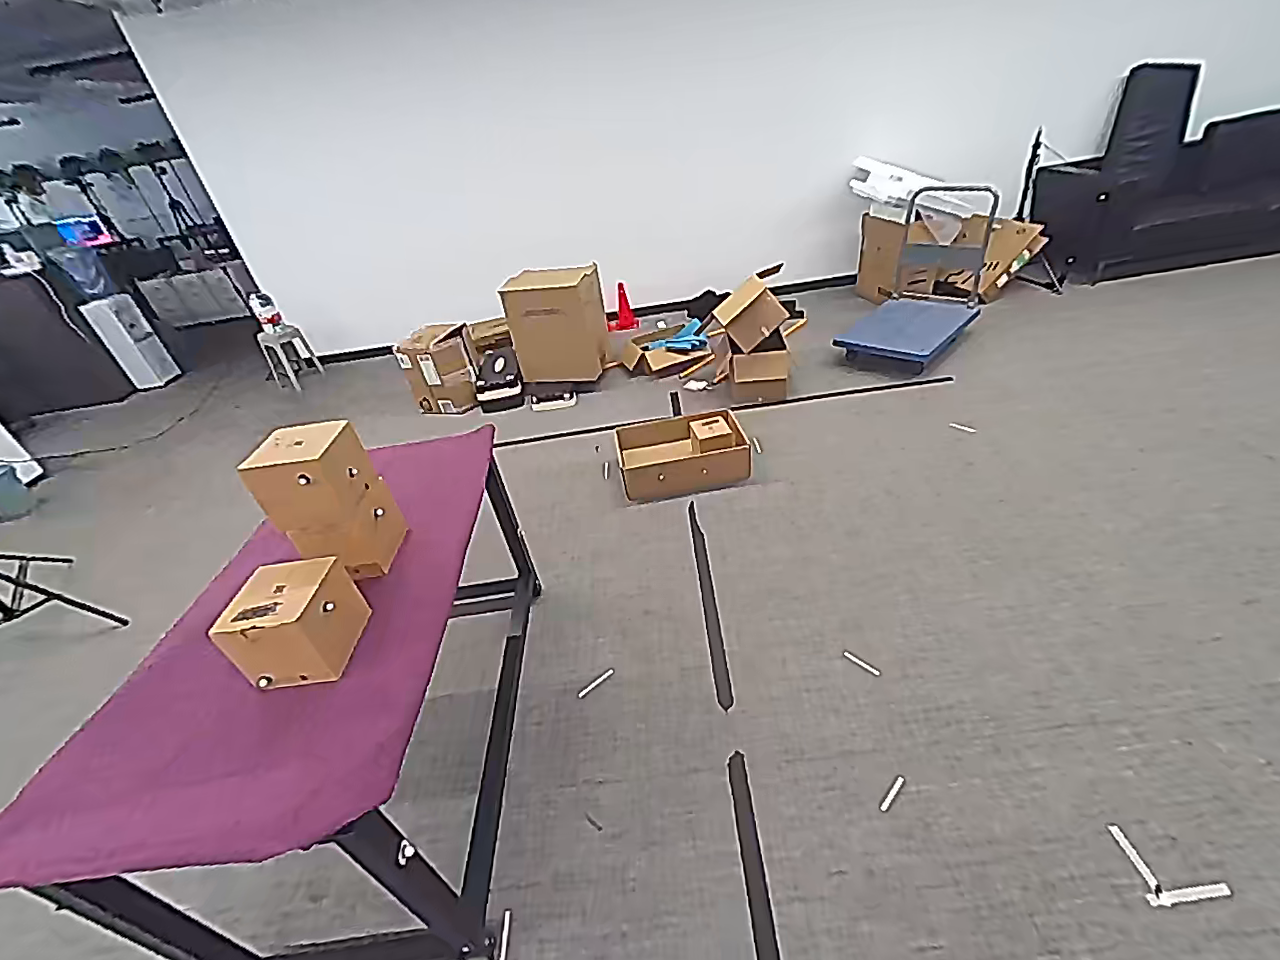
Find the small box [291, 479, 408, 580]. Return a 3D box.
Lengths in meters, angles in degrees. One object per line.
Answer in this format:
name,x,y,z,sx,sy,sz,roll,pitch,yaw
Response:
small box,-0.685,0.122,1.304,0.168,0.176,0.179,-8,35,3

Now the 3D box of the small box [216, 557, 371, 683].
small box,-0.665,0.281,1.067,0.168,0.176,0.179,-8,34,3

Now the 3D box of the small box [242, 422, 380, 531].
small box,-0.716,-0.007,1.205,0.179,0.176,0.168,-8,35,3
